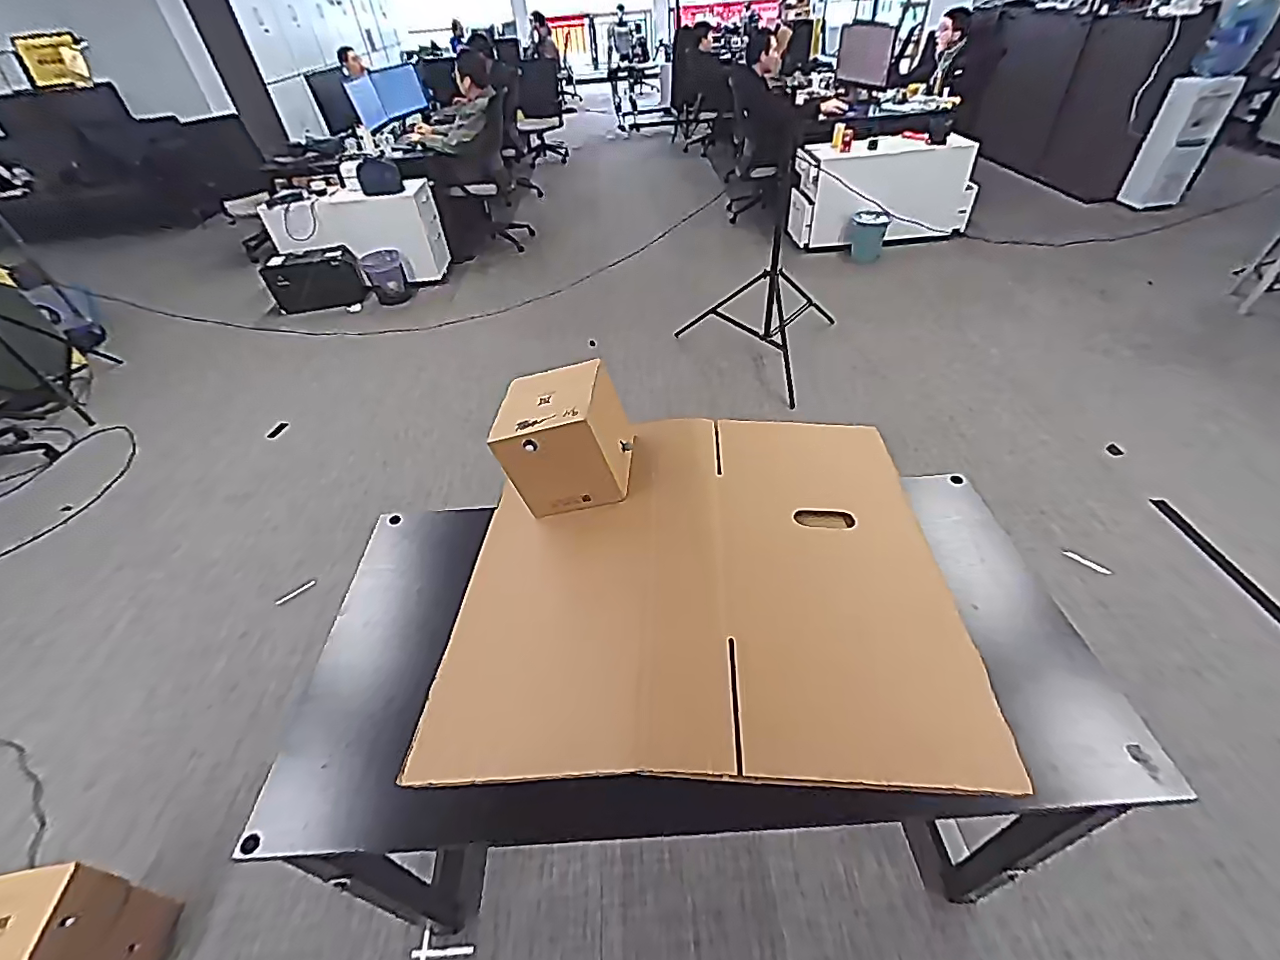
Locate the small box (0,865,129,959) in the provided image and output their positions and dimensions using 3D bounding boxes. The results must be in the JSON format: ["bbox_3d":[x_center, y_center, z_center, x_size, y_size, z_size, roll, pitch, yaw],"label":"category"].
[{"bbox_3d":[-1.152,0.876,1.036,0.168,0.176,0.179,-9,41,-5],"label":"small box"}]

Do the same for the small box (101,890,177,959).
[{"bbox_3d":[-1.139,1.000,1.141,0.168,0.176,0.179,-7,43,-2],"label":"small box"}]

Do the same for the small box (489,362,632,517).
[{"bbox_3d":[-0.118,-0.065,0.896,0.168,0.176,0.179,-12,39,15],"label":"small box"}]
